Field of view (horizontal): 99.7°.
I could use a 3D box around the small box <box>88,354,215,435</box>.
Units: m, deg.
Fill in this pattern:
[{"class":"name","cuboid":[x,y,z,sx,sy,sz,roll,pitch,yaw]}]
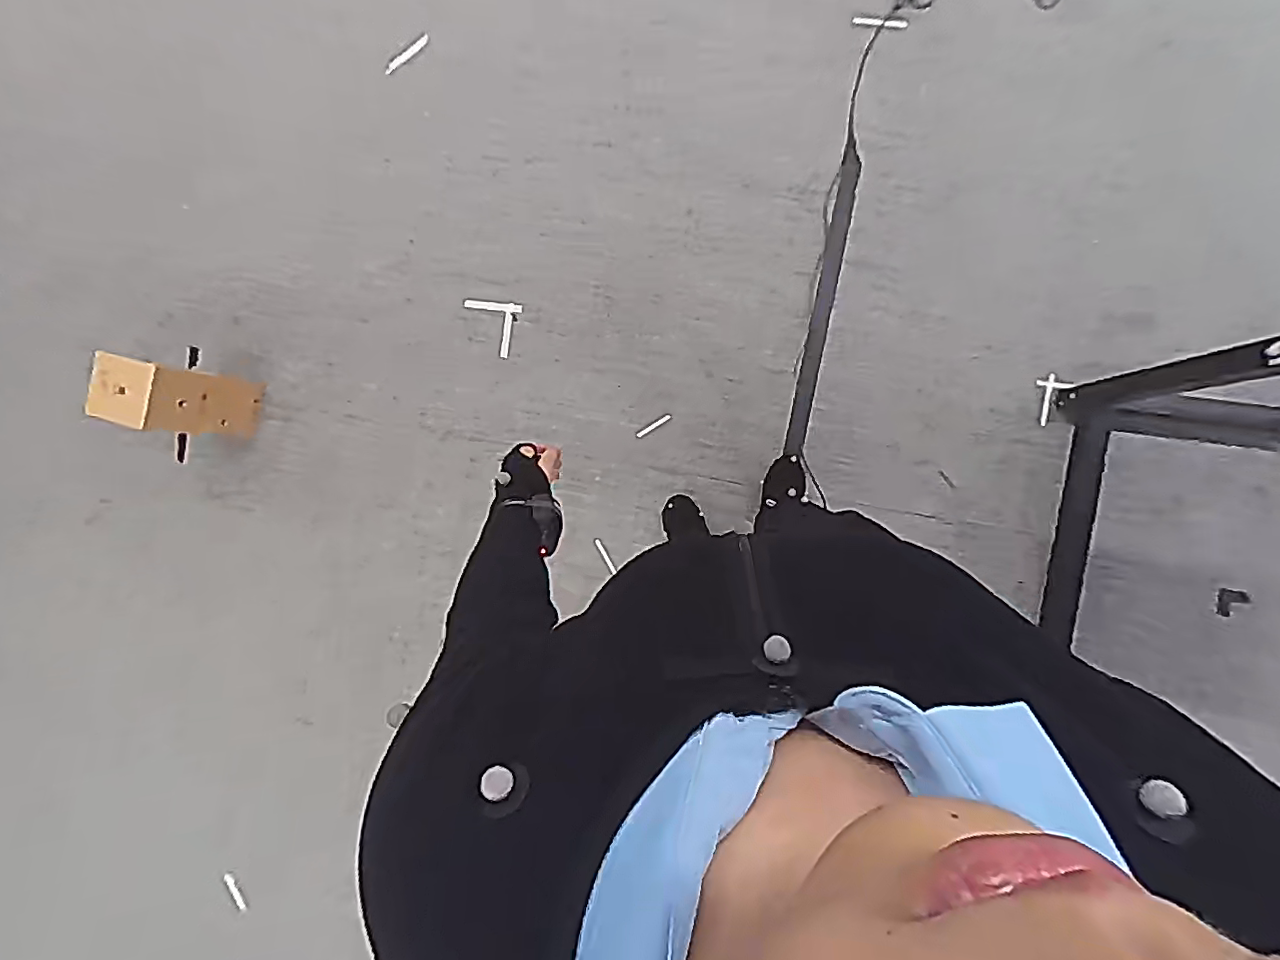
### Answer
[{"class":"small box","cuboid":[-1.276,-0.219,1.424,0.179,0.176,0.168,15,92,7]}]
